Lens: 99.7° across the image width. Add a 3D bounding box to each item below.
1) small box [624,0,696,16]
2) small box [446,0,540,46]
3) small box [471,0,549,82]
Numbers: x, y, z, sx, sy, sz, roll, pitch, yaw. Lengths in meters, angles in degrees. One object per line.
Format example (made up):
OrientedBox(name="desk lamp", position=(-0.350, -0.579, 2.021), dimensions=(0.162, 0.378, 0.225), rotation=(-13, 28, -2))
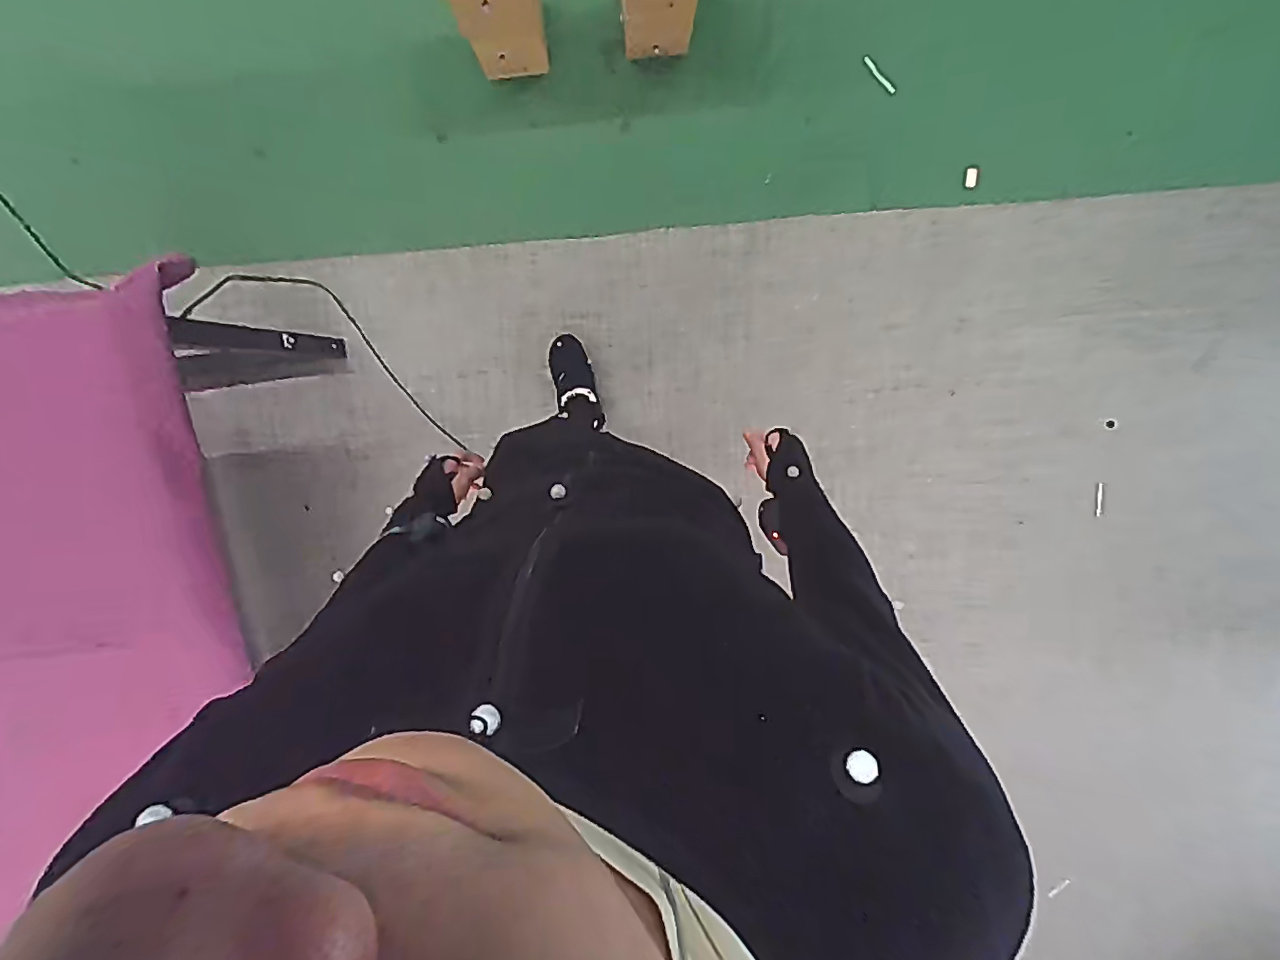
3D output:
OrientedBox(name="small box", position=(0.043, -1.157, 1.177), dimensions=(0.168, 0.176, 0.179), rotation=(-6, 100, -1))
OrientedBox(name="small box", position=(-0.330, -1.095, 1.184), dimensions=(0.179, 0.176, 0.168), rotation=(-7, 100, 1))
OrientedBox(name="small box", position=(-0.328, -1.127, 1.345), dimensions=(0.168, 0.176, 0.179), rotation=(-7, 99, 1))
